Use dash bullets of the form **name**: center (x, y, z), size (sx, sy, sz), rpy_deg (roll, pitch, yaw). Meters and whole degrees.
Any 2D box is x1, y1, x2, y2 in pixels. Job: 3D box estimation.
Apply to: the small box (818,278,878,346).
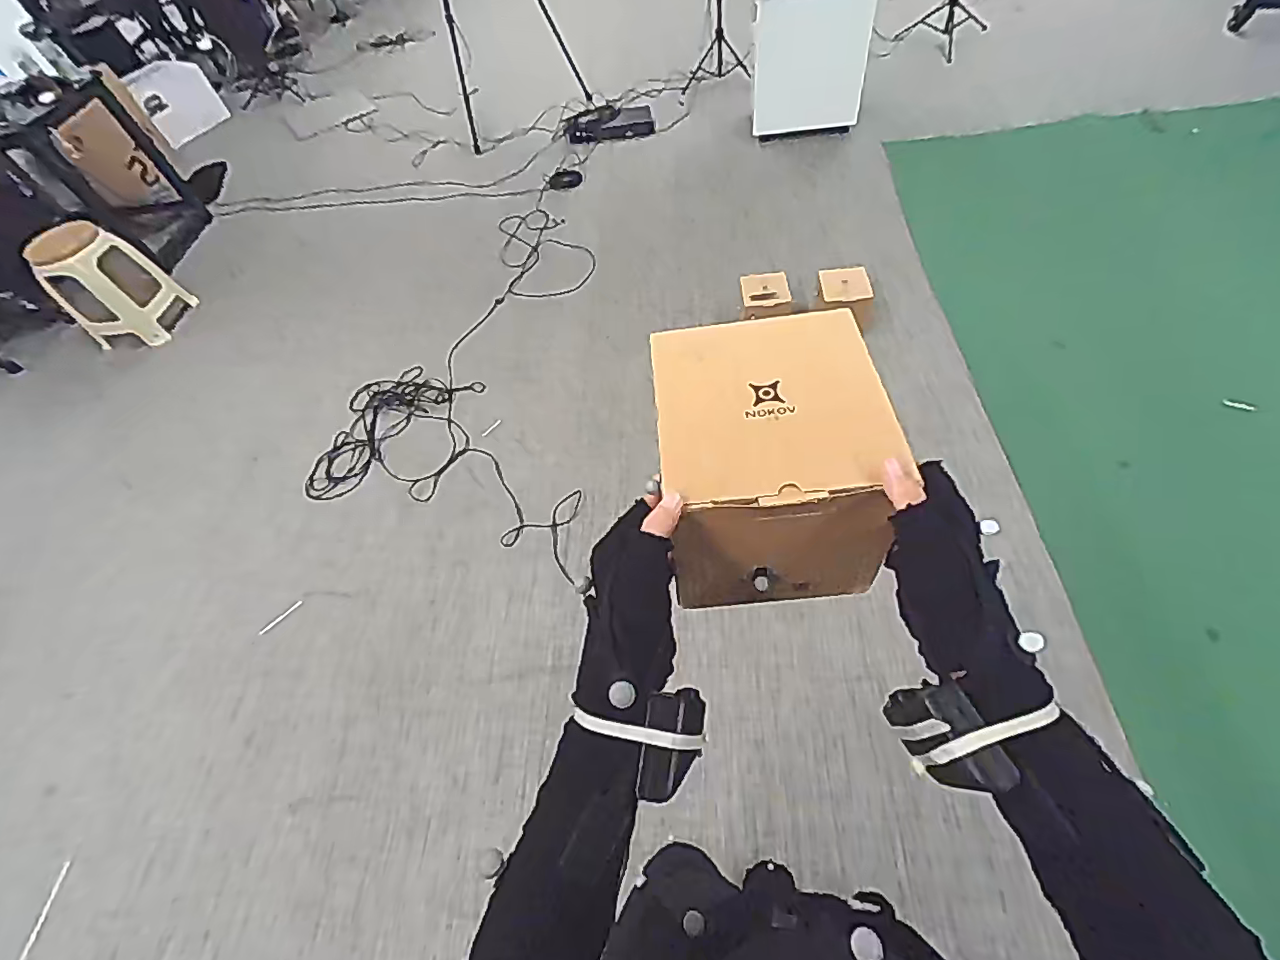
- **small box**: center (0.758, -0.616, 1.987), size (0.168, 0.176, 0.179), rpy_deg (-2, 56, 9)
